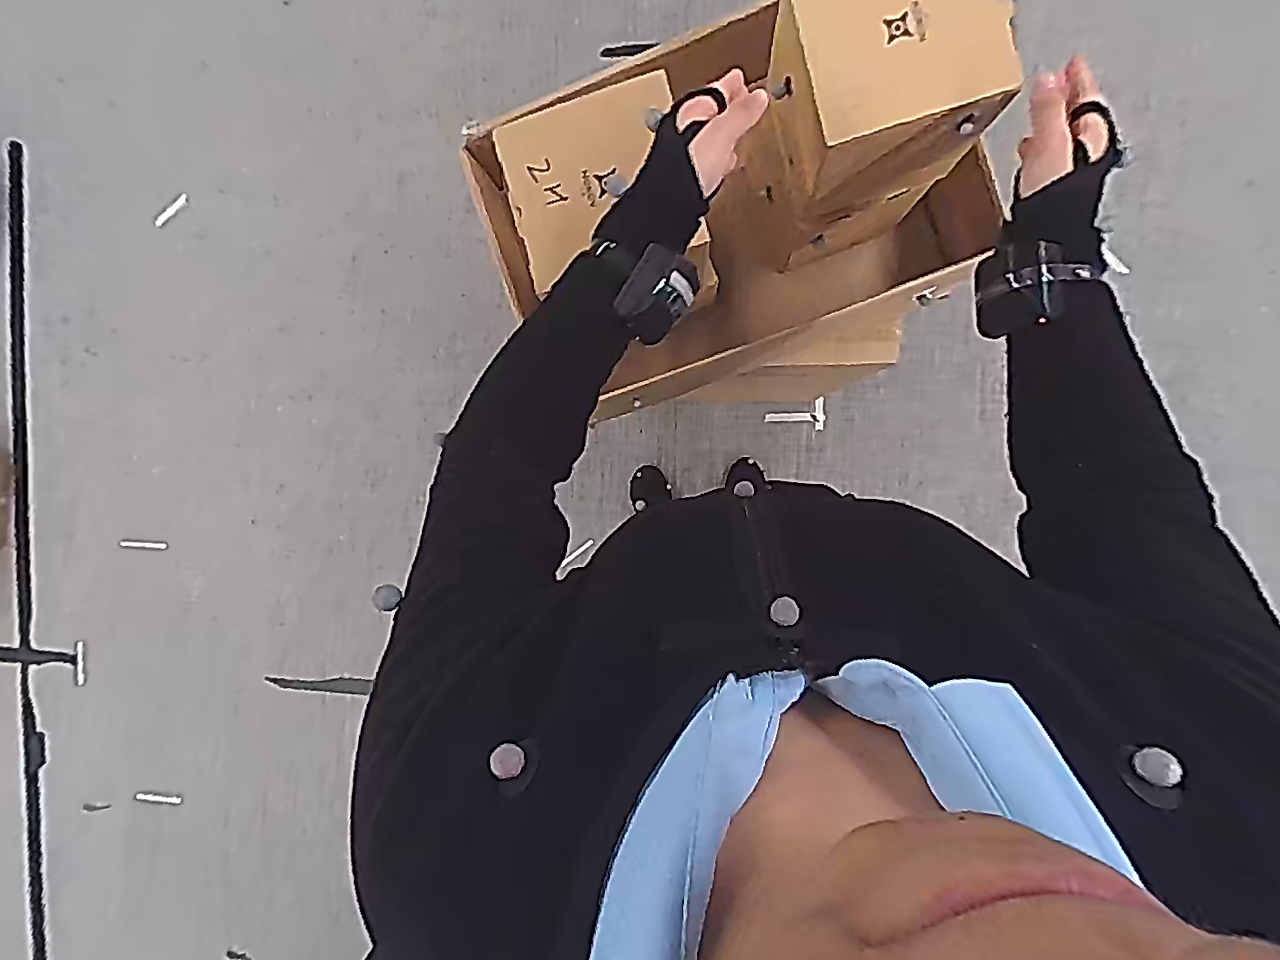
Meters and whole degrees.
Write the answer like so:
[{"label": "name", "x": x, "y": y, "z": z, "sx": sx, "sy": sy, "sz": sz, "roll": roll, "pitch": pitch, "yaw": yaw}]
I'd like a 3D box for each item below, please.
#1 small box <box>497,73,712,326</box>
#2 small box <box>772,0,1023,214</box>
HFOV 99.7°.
[{"label": "small box", "x": -0.028, "y": -0.285, "z": 0.594, "sx": 0.179, "sy": 0.176, "sz": 0.168, "roll": -15, "pitch": 92, "yaw": 6}, {"label": "small box", "x": 0.242, "y": -0.407, "z": 0.560, "sx": 0.179, "sy": 0.176, "sz": 0.168, "roll": -15, "pitch": 92, "yaw": 7}]
